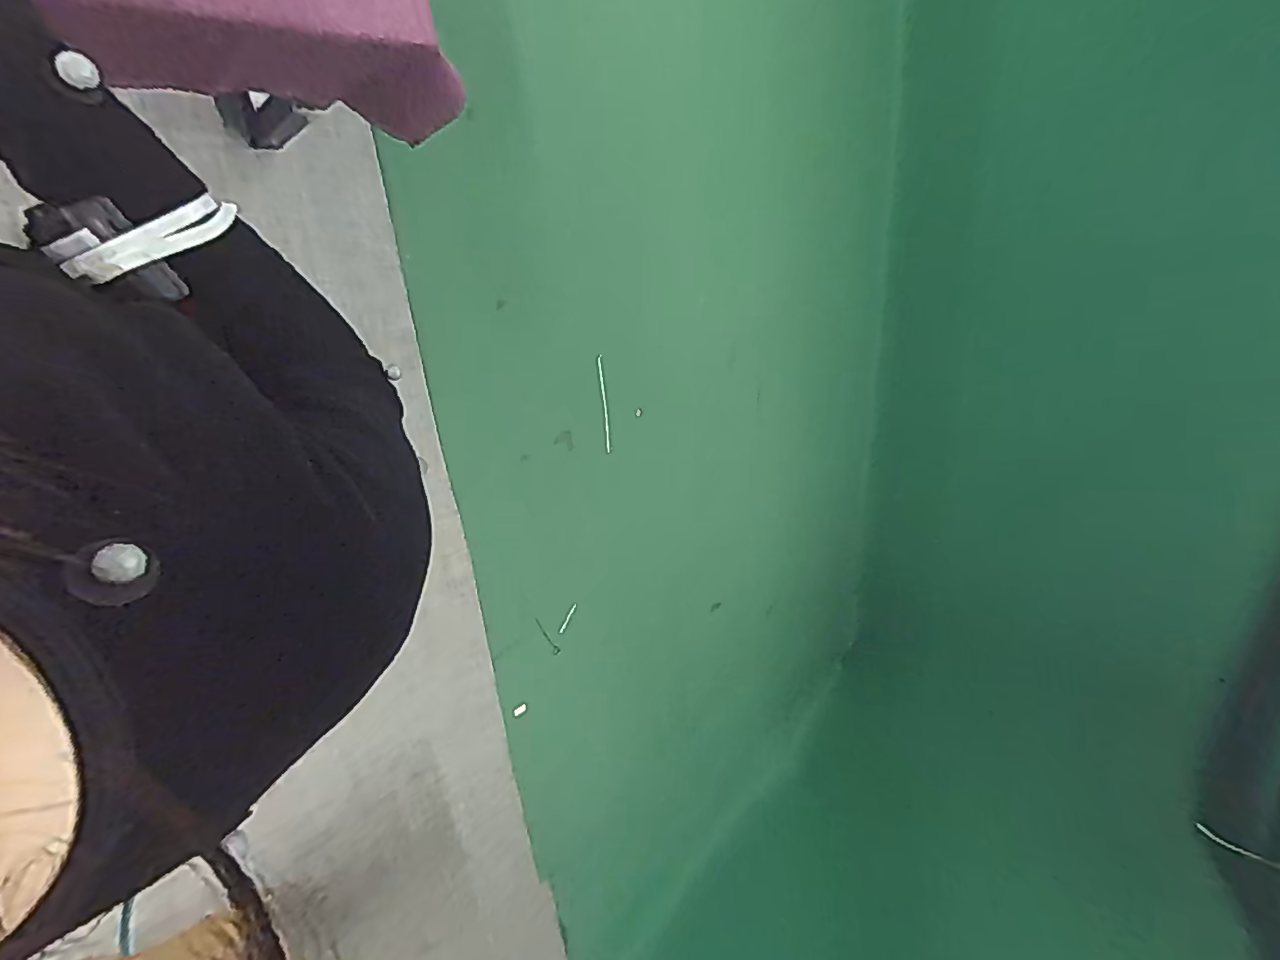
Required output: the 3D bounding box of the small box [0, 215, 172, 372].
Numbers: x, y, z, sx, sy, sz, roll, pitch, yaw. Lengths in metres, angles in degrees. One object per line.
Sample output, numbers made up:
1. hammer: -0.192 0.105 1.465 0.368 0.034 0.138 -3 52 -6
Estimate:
1. small box: -1.003 -0.331 0.971 0.168 0.176 0.179 35 38 -19
